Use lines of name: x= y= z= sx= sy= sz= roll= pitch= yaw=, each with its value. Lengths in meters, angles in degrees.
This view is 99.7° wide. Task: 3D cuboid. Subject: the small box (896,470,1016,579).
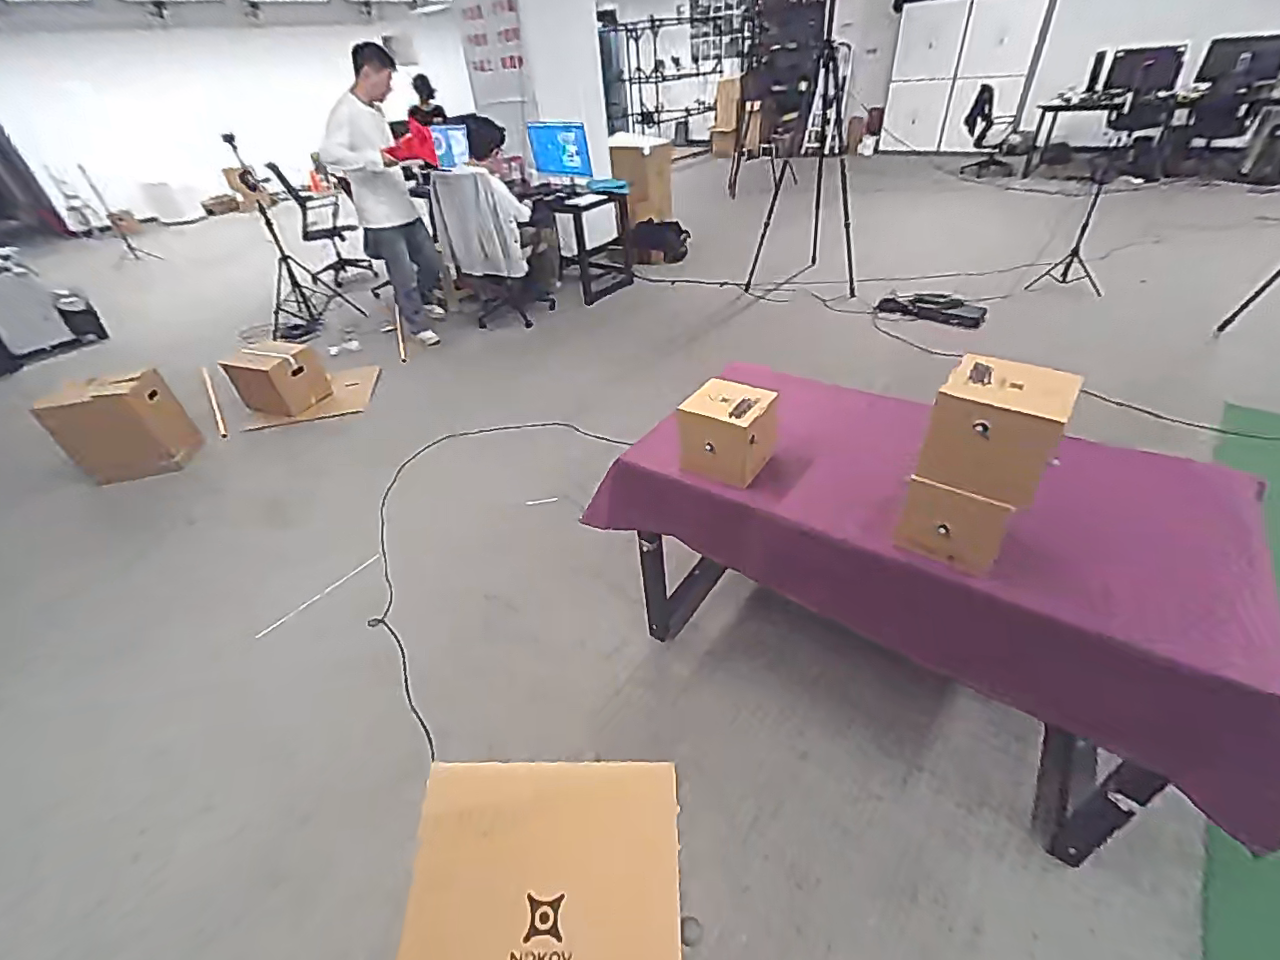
small box: x=0.599 y=0.054 z=1.013 sx=0.168 sy=0.176 sz=0.179 roll=24 pitch=46 yaw=32

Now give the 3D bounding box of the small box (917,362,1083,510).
small box: x=0.596 y=-0.075 z=0.911 sx=0.179 sy=0.176 sz=0.168 roll=25 pitch=47 yaw=32
